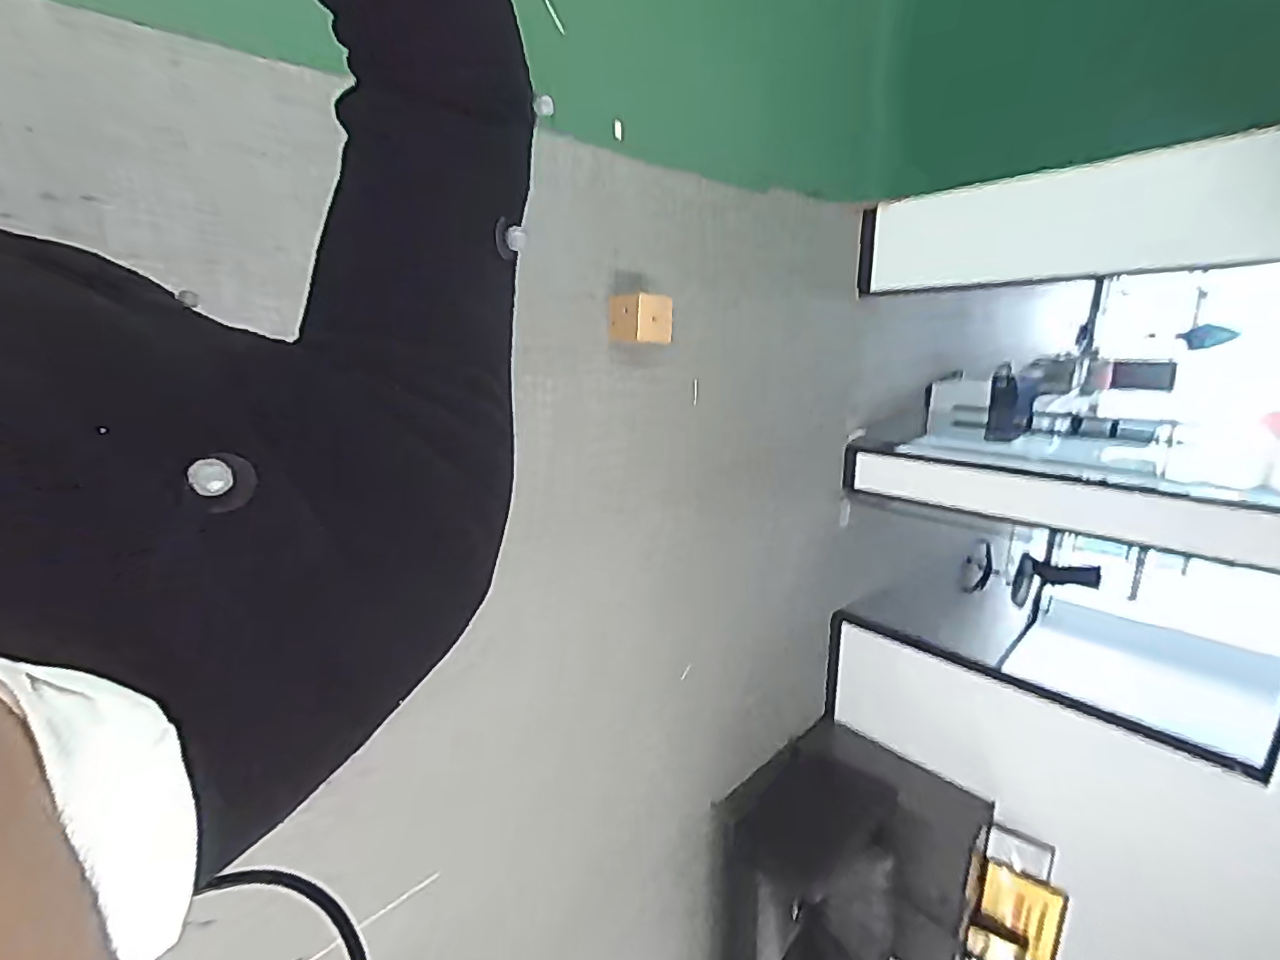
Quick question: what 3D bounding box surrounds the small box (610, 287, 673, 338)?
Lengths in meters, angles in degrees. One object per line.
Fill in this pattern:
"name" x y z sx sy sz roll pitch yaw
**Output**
"small box" 0.003 -0.621 2.022 0.179 0.176 0.168 -9 107 -42
